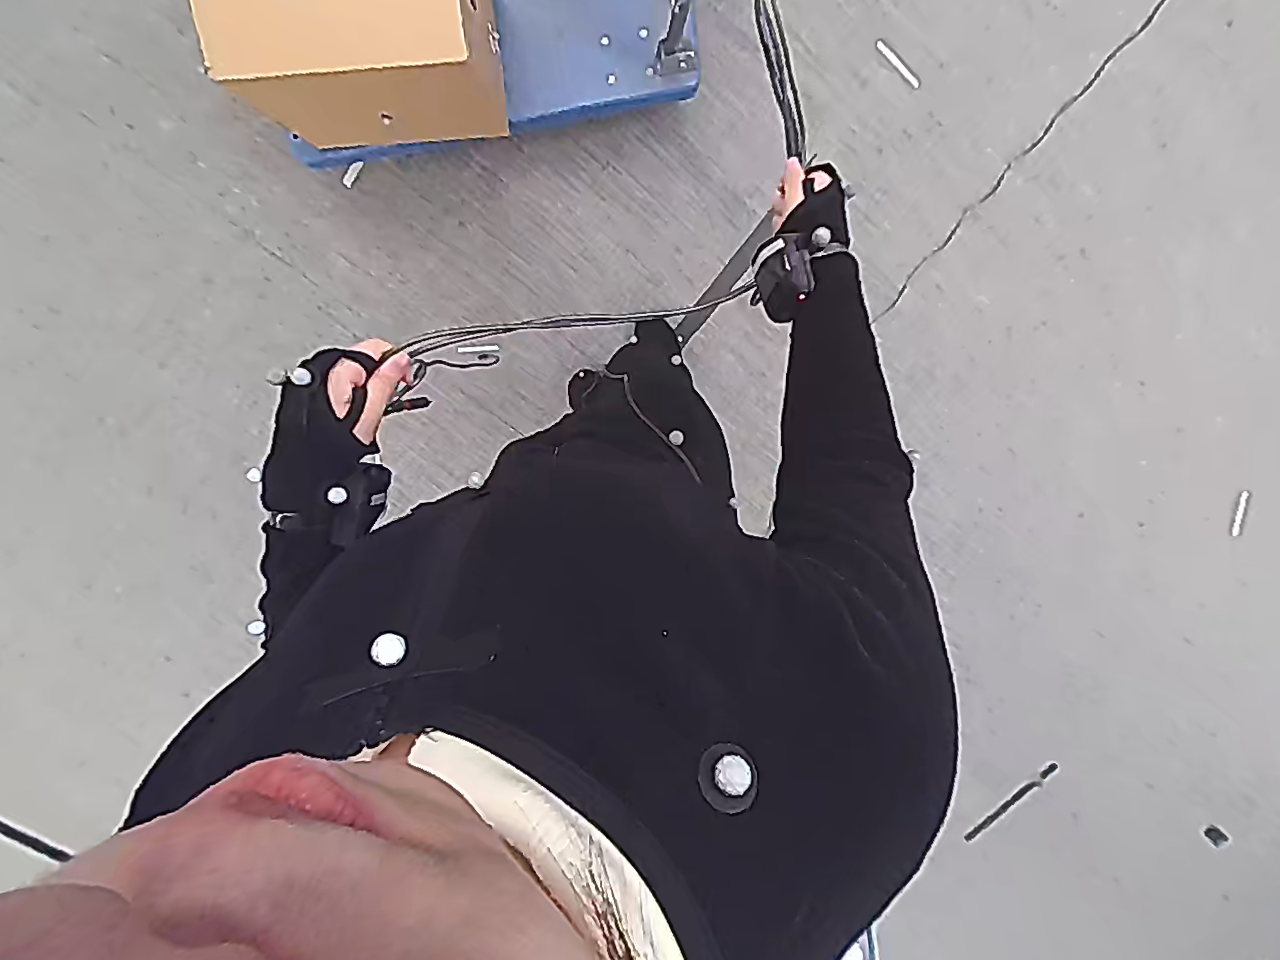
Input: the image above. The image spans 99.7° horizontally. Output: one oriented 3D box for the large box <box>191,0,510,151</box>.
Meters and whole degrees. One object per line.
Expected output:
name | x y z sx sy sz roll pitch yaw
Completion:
large box | -0.476 -0.806 0.940 0.408 0.320 0.320 -5 103 0
